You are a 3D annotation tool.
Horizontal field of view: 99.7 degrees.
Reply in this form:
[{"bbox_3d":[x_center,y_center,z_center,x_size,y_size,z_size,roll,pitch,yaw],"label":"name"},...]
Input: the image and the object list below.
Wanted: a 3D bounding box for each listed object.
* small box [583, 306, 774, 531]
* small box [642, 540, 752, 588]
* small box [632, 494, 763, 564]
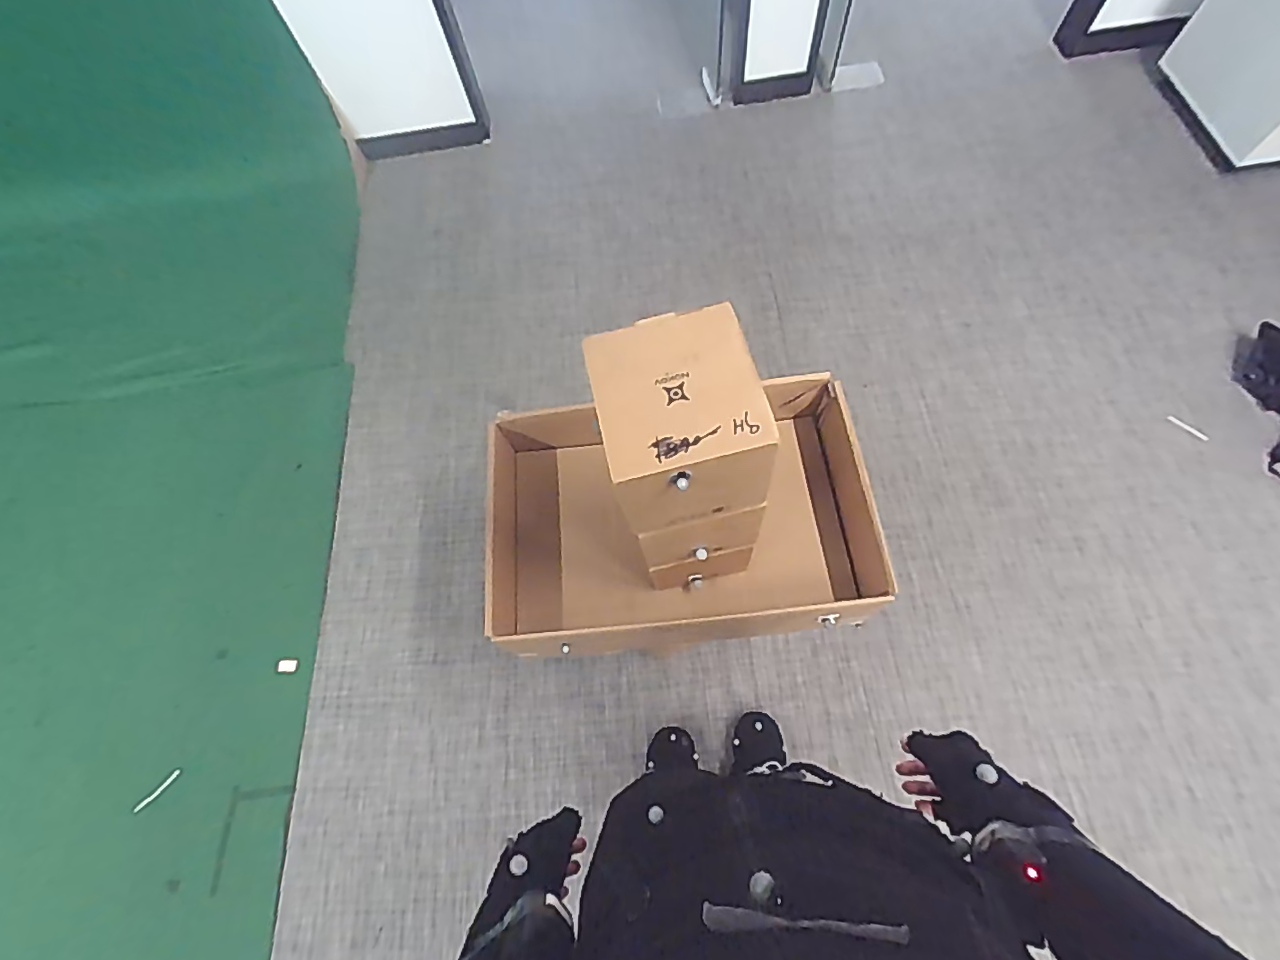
[{"bbox_3d":[0.042,-0.062,0.621,0.168,0.176,0.179,-14,65,2],"label":"small box"},{"bbox_3d":[0.081,0.069,0.919,0.168,0.176,0.179,-13,67,1],"label":"small box"},{"bbox_3d":[0.065,0.003,0.769,0.168,0.176,0.179,-14,67,2],"label":"small box"}]
